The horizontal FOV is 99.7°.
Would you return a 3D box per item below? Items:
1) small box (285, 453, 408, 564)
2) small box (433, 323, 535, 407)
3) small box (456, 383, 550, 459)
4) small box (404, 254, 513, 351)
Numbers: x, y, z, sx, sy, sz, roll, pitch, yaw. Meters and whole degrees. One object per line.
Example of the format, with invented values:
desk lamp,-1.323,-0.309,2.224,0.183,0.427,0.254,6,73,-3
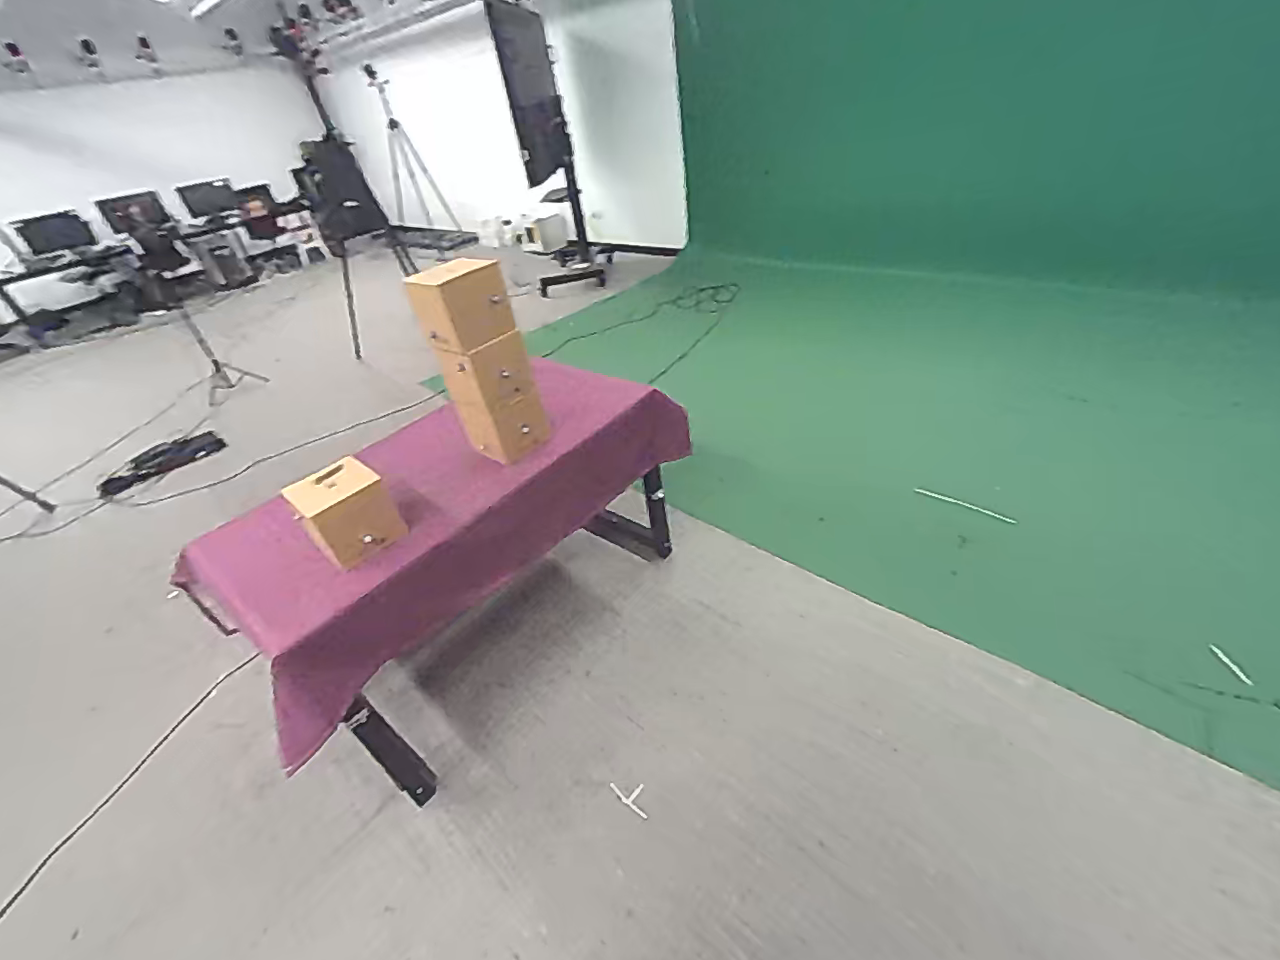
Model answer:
small box,-0.679,0.067,1.262,0.179,0.176,0.168,25,49,36
small box,-0.403,-0.308,1.419,0.179,0.176,0.168,22,47,36
small box,-0.378,-0.180,1.520,0.179,0.176,0.168,23,48,36
small box,-0.433,-0.437,1.322,0.168,0.176,0.179,21,48,37
